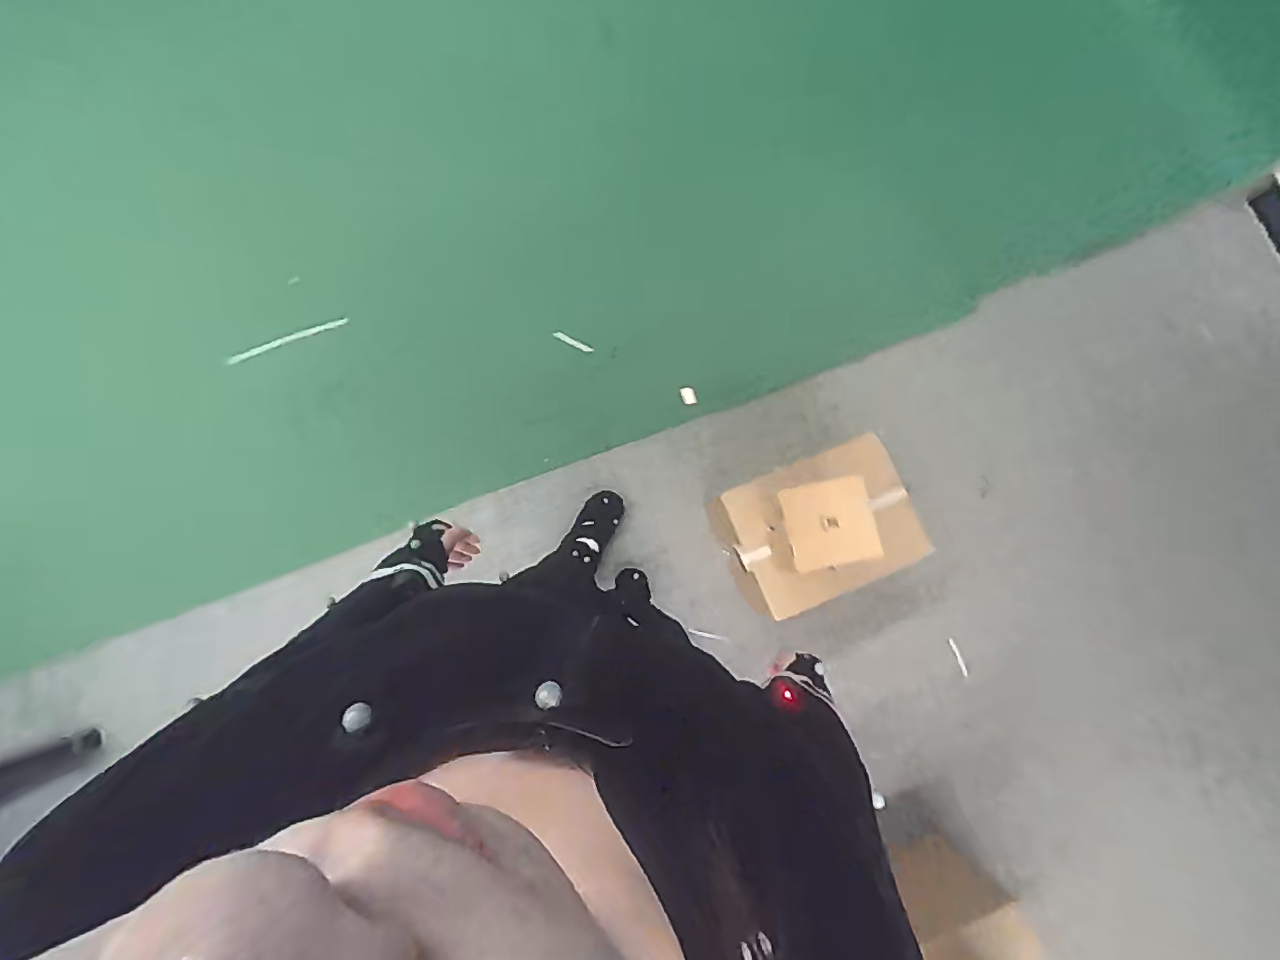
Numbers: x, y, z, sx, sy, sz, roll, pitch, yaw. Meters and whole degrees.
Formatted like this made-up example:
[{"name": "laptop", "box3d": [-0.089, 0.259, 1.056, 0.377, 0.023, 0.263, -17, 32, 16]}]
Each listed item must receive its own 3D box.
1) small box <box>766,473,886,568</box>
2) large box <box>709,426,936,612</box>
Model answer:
[{"name": "small box", "box3d": [0.381, 0.088, 1.134, 0.179, 0.176, 0.168, -11, 82, 0]}, {"name": "large box", "box3d": [0.433, 0.107, 1.379, 0.408, 0.320, 0.320, -21, 83, -3]}]
